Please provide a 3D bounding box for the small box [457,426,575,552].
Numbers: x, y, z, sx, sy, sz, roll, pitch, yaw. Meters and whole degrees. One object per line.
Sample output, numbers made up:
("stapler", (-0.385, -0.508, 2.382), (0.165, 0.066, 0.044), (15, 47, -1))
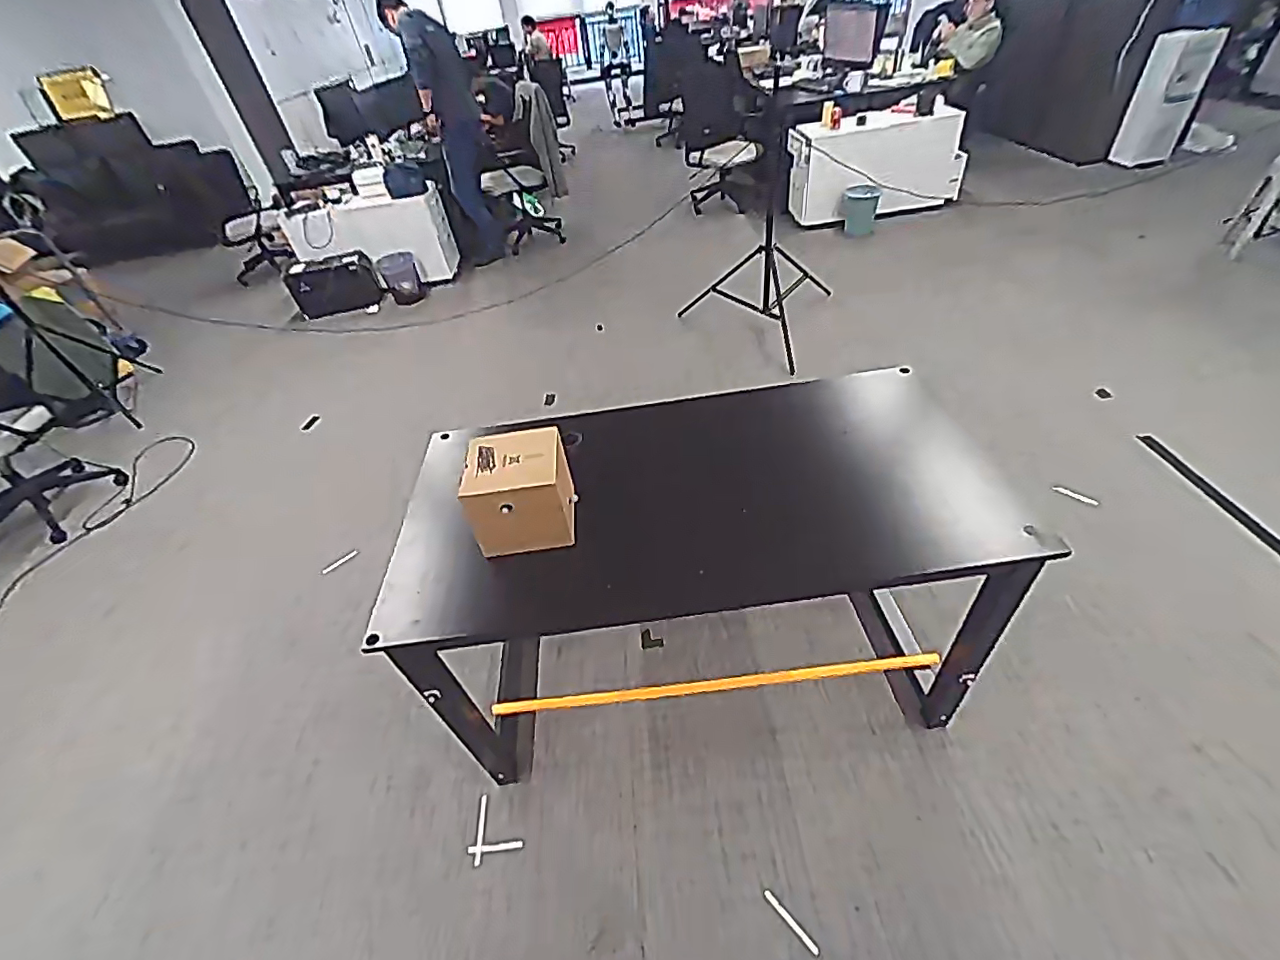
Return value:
("small box", (-0.228, 0.021, 1.041), (0.179, 0.176, 0.168), (-8, 43, 0))
